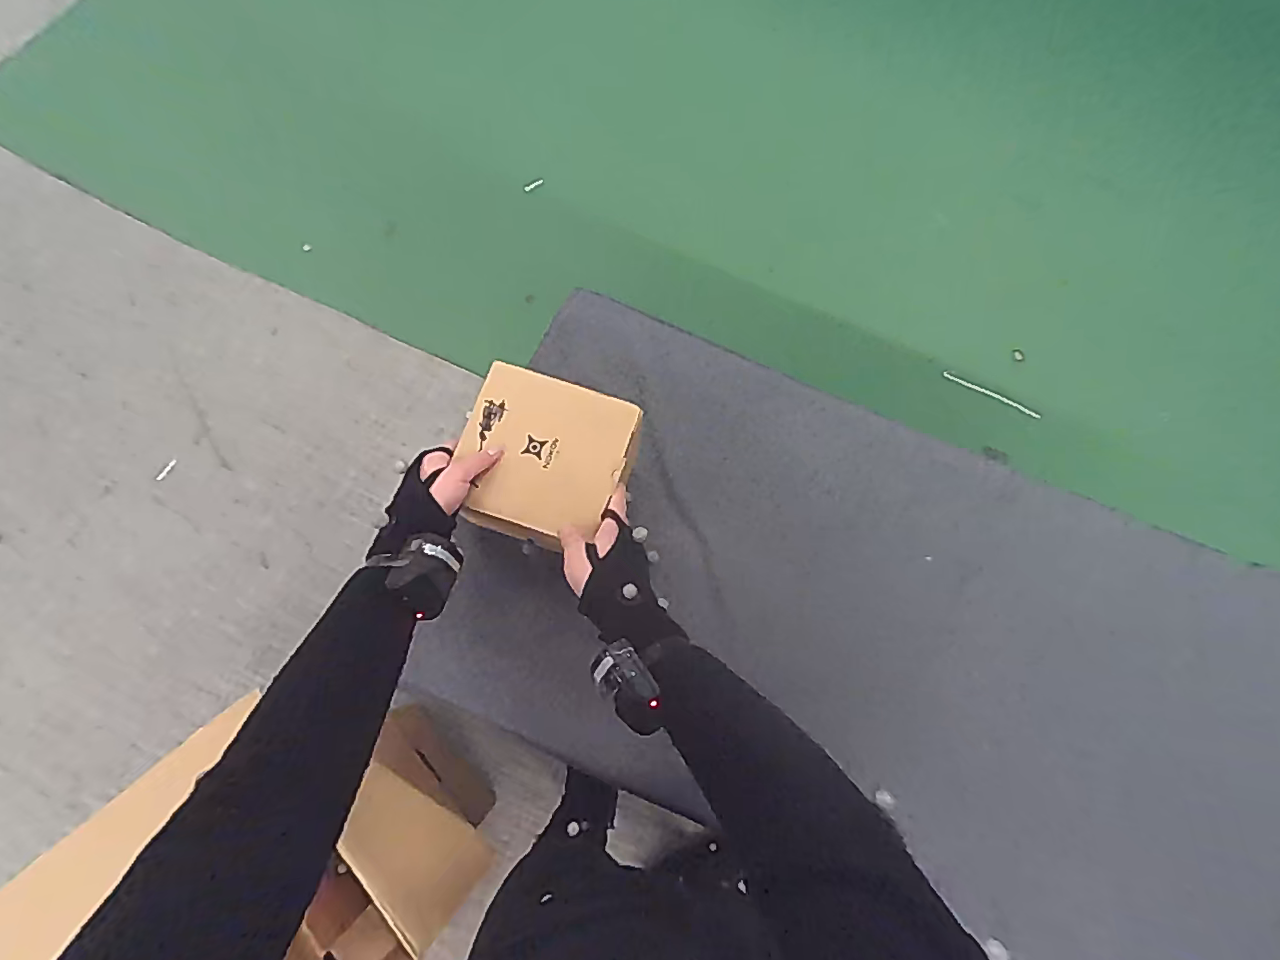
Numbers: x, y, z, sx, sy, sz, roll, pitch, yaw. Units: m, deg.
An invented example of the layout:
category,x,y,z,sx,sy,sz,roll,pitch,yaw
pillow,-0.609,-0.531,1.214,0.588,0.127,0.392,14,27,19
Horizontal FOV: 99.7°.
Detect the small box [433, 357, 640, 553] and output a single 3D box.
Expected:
category,x,y,z,sx,sy,sz,roll,pitch,yaw
small box,-0.113,-0.017,0.655,0.179,0.176,0.168,19,75,1
